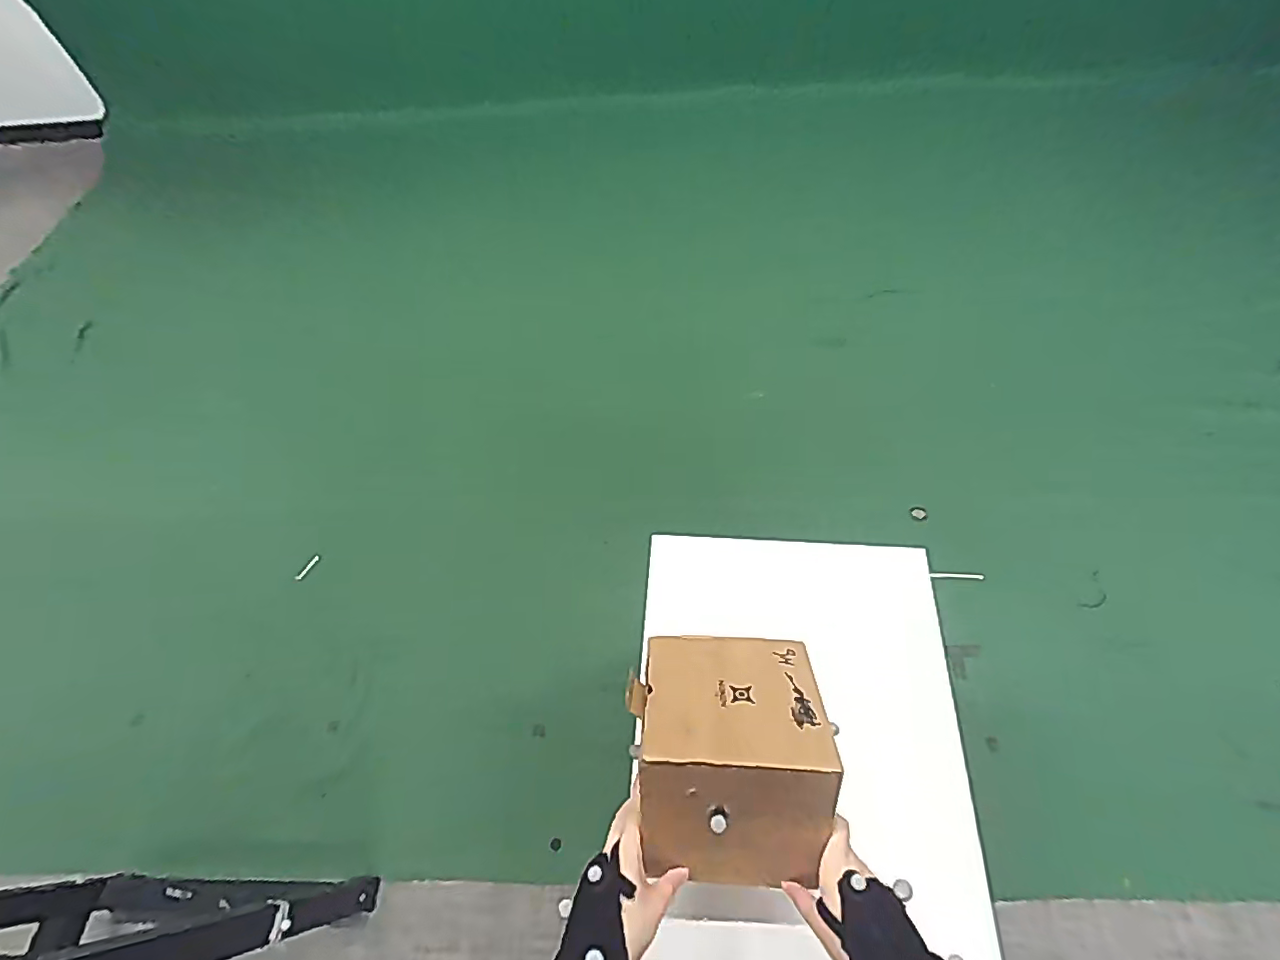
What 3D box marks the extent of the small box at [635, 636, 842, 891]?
[{"bbox_3d":[0.090,0.281,0.553,0.179,0.176,0.168,1,24,4],"label":"small box"}]
